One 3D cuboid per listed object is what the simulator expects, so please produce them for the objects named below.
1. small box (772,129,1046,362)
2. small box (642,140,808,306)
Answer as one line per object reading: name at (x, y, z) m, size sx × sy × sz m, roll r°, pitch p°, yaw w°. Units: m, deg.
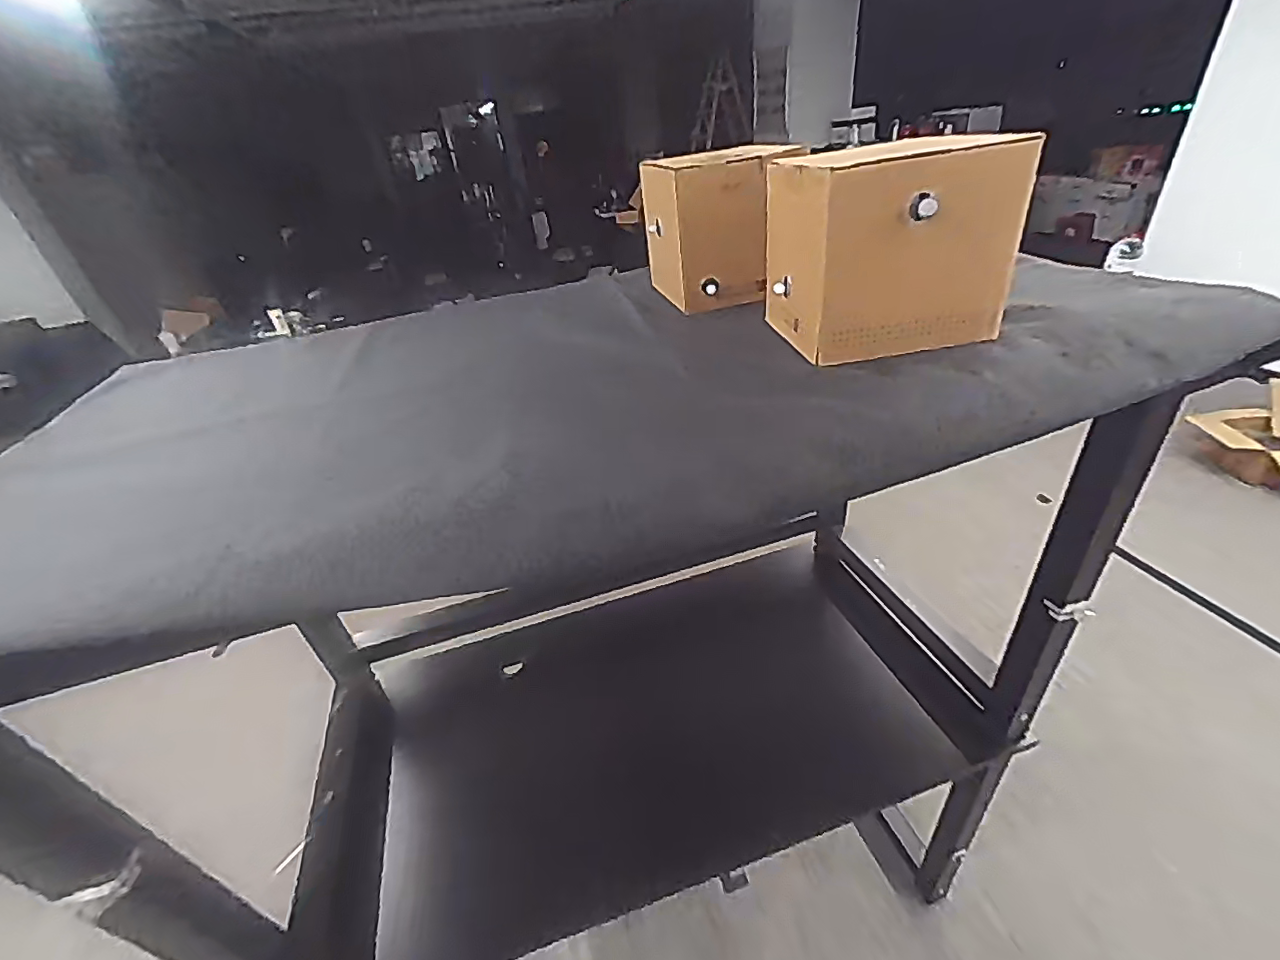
small box at (0.235, -0.231, 0.528) m, size 0.179 × 0.176 × 0.168 m, roll -10°, pitch 32°, yaw 0°
small box at (0.110, -0.342, 0.725) m, size 0.168 × 0.176 × 0.179 m, roll -13°, pitch 33°, yaw -7°
